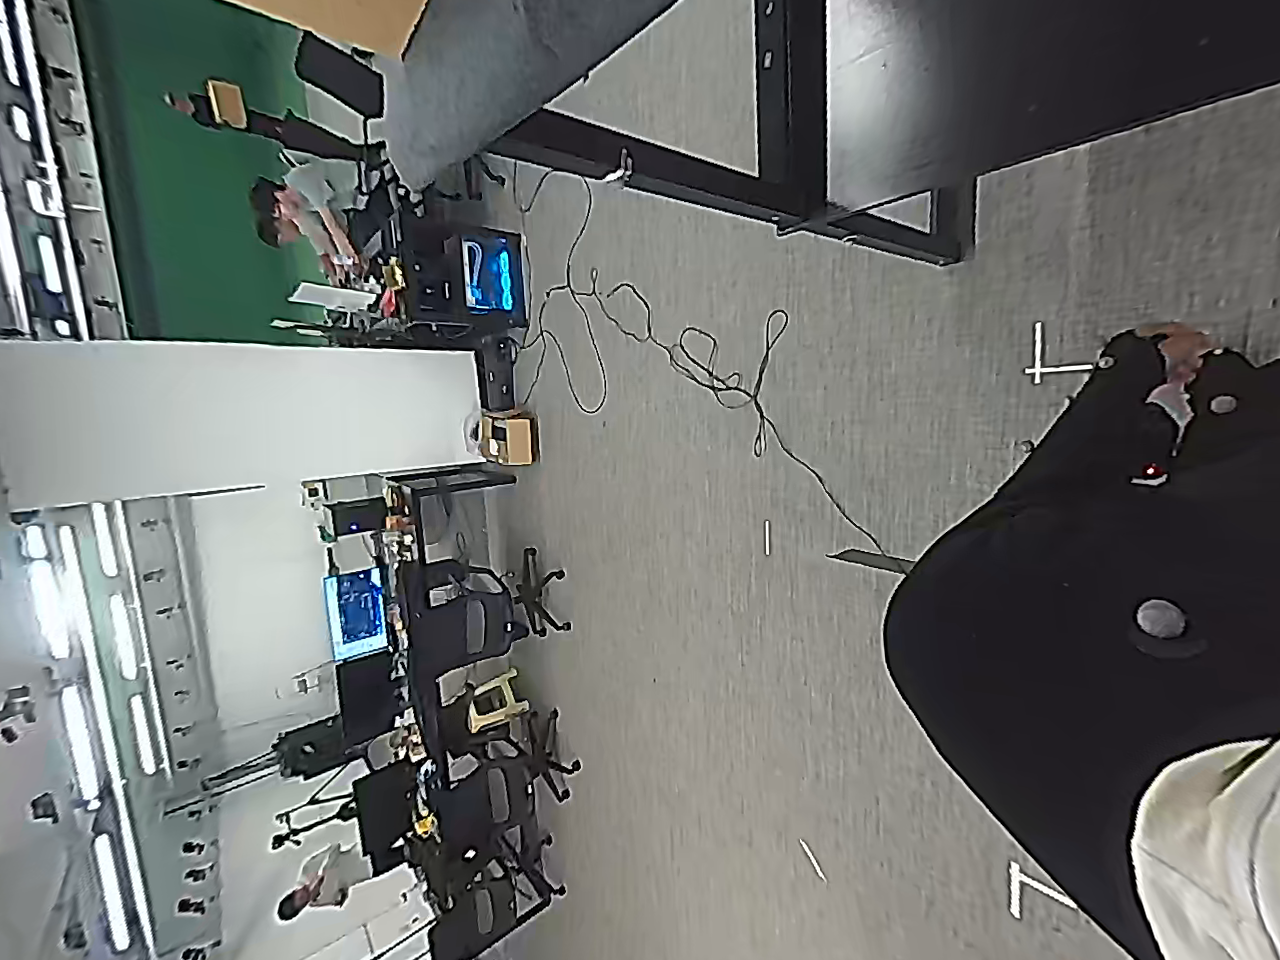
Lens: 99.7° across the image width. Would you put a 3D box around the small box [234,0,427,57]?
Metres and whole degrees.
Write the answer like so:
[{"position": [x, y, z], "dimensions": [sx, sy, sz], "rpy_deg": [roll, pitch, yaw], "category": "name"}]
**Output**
[{"position": [-0.279, -0.523, 0.469], "dimensions": [0.179, 0.176, 0.168], "rpy_deg": [1, 98, 51], "category": "small box"}]
